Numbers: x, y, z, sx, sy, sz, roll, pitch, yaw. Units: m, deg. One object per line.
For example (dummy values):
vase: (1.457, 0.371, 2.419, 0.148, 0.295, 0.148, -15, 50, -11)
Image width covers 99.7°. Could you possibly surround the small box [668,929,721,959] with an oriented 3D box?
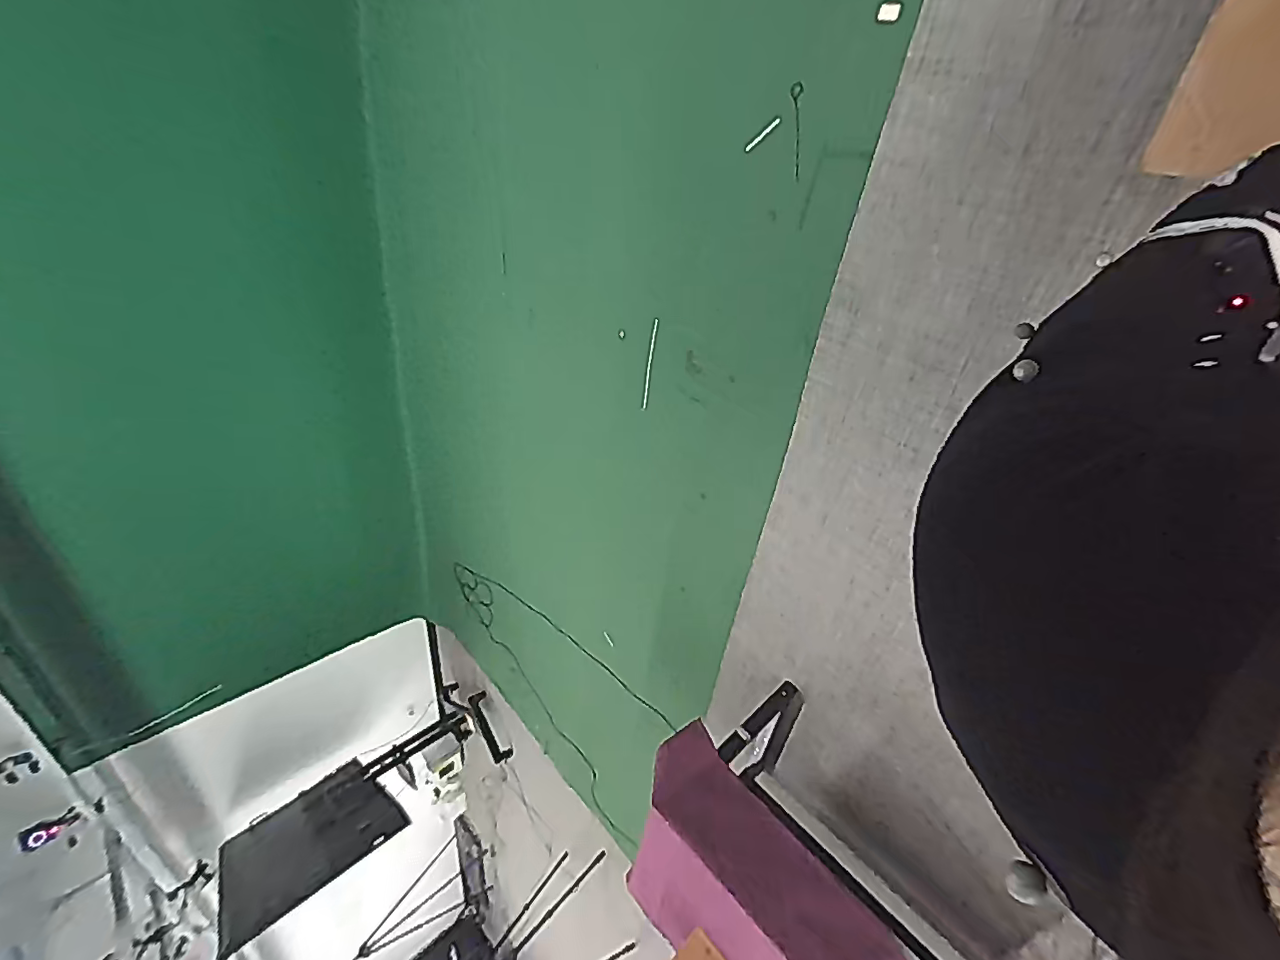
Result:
small box: (0.151, 1.471, 1.579, 0.168, 0.176, 0.179, 37, 132, 32)
